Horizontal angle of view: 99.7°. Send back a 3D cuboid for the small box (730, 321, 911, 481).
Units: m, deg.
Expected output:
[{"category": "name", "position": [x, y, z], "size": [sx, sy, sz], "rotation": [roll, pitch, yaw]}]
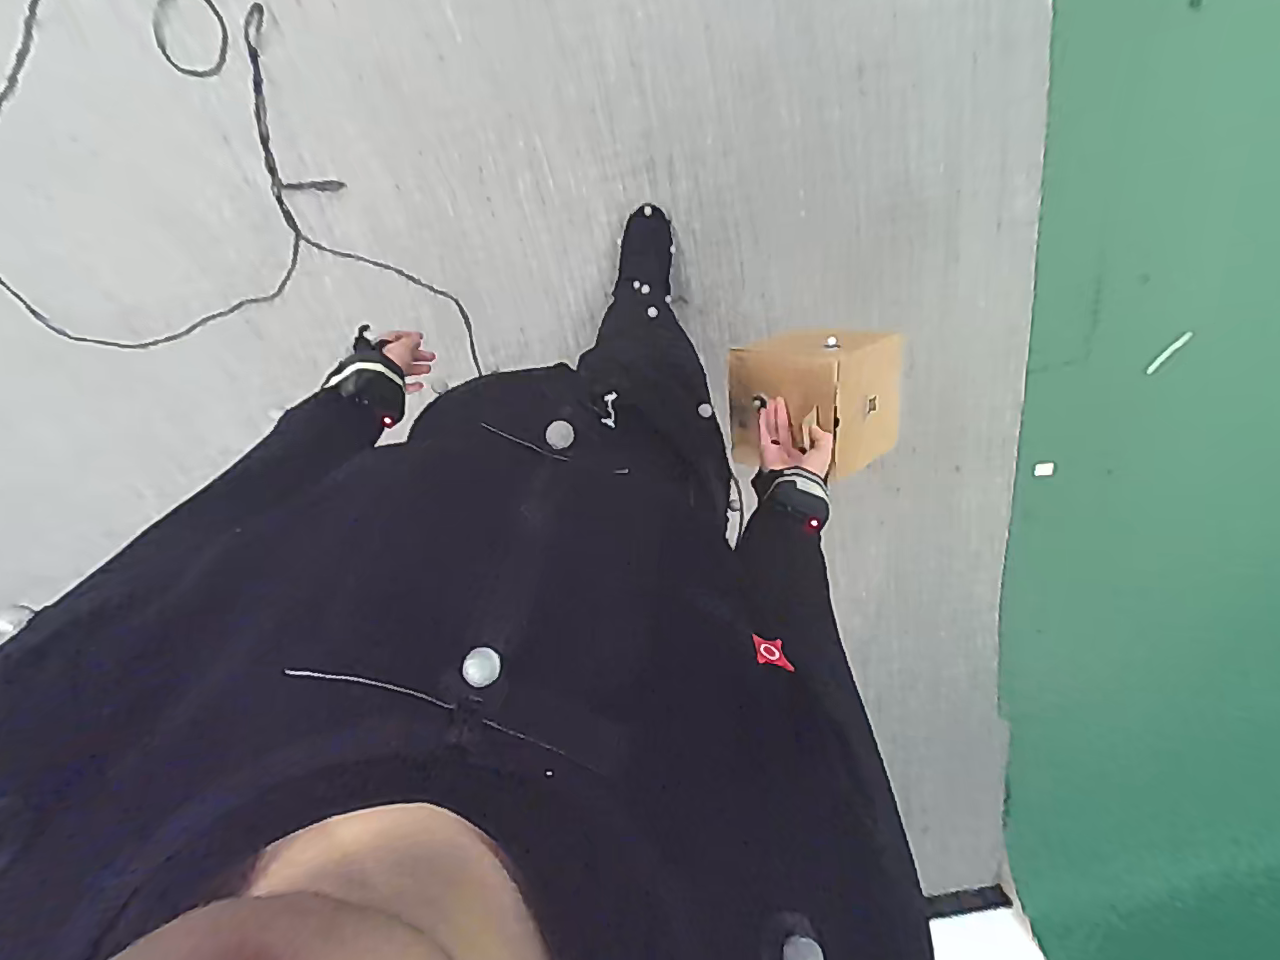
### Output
[{"category": "small box", "position": [0.242, -0.120, 0.739], "size": [0.179, 0.176, 0.168], "rotation": [-26, 120, -36]}]
